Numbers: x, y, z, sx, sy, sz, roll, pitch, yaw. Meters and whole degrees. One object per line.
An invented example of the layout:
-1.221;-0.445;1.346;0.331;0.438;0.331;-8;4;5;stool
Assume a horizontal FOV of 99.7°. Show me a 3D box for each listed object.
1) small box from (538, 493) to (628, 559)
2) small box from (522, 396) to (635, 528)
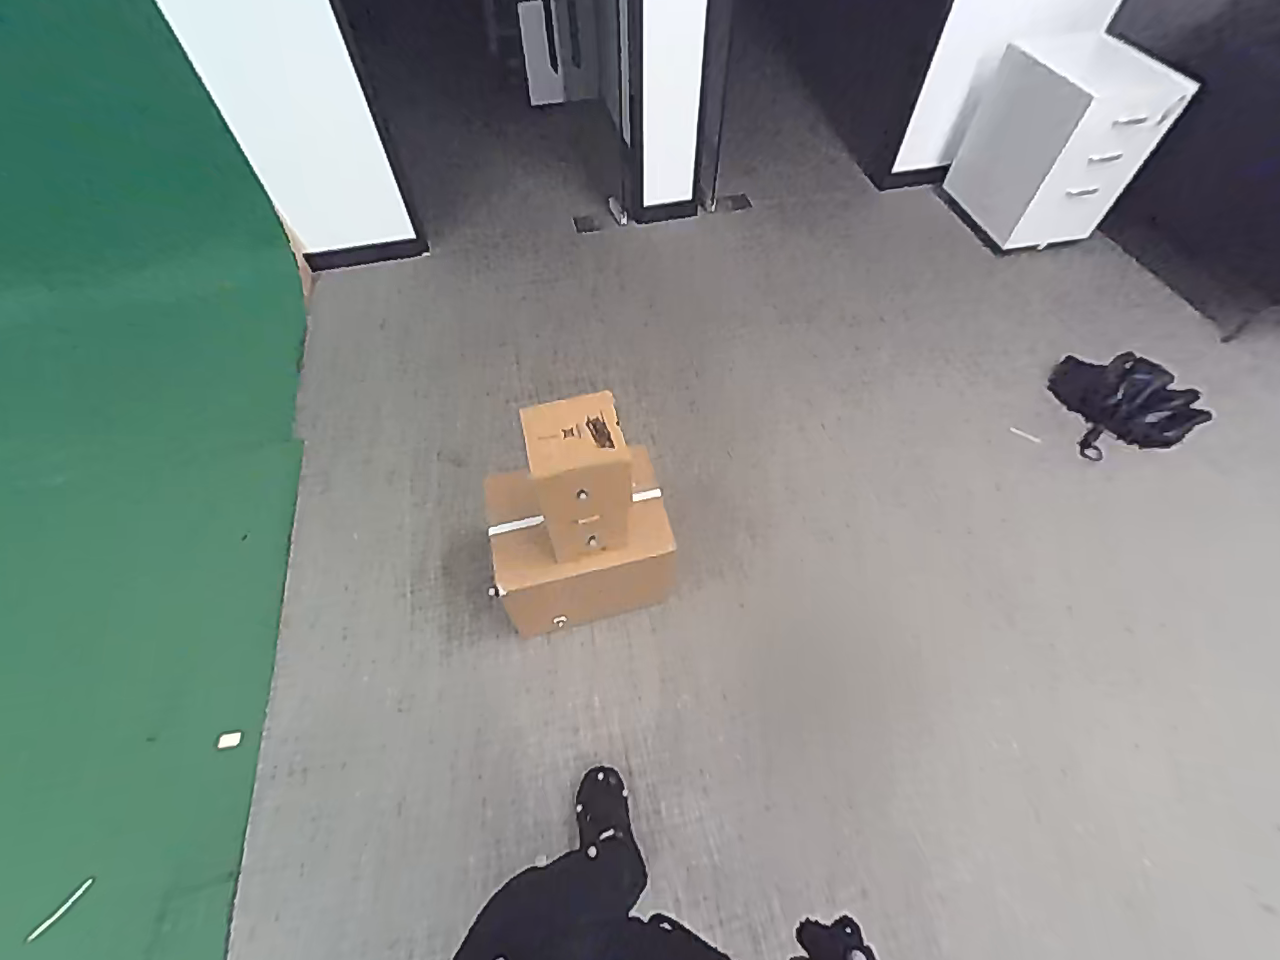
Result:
-0.125;0.057;1.172;0.168;0.176;0.179;-14;58;-9;small box
-0.115;-0.032;1.033;0.179;0.176;0.168;-14;58;-10;small box
